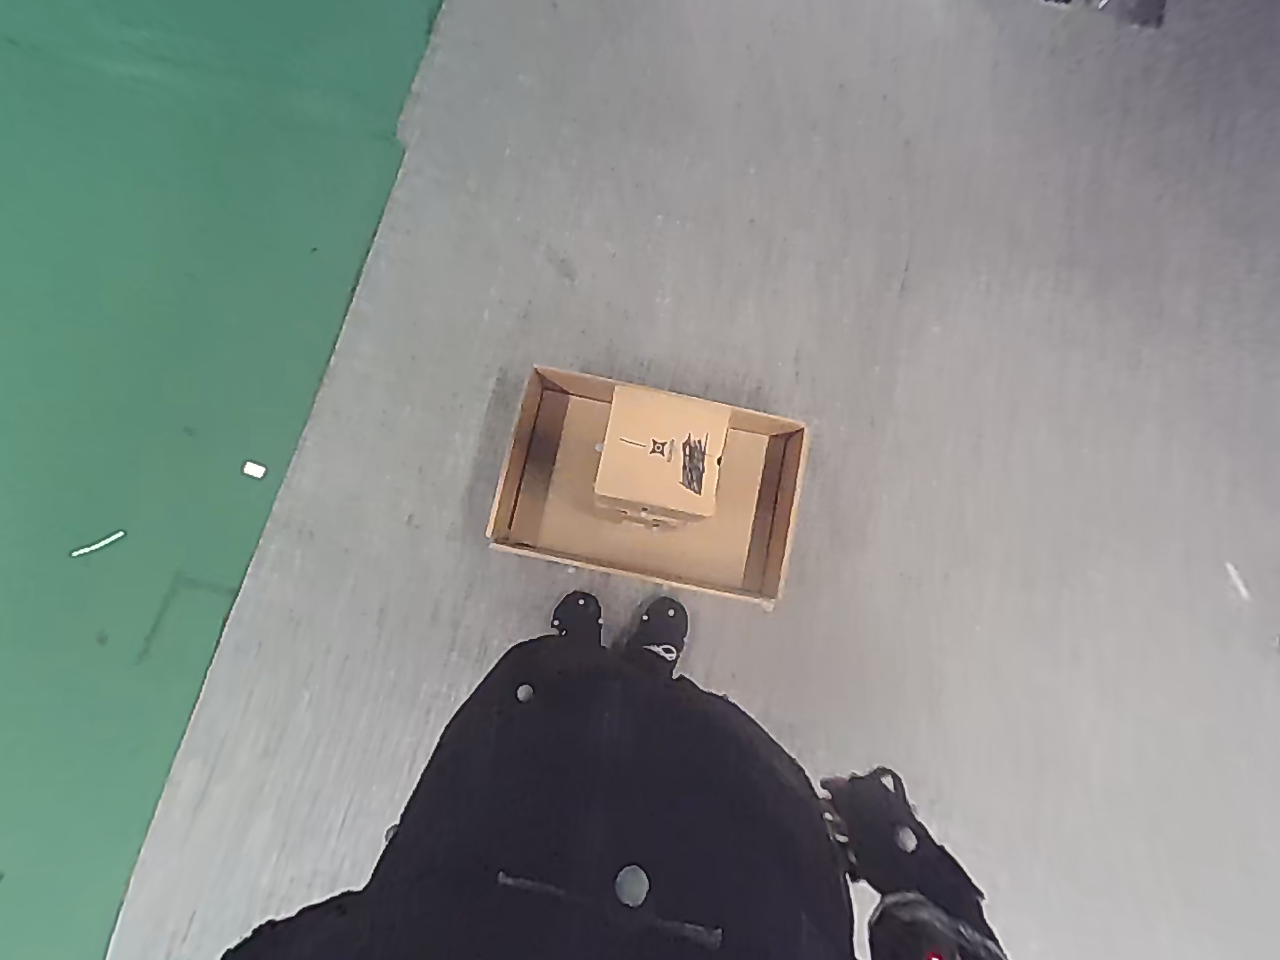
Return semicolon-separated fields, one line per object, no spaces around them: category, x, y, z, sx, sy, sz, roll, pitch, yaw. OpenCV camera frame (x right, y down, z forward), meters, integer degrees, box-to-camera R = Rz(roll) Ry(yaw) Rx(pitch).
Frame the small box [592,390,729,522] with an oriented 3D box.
small box;0.028;-0.028;0.867;0.179;0.176;0.168;11;82;-1

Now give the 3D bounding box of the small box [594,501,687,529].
small box;0.013;-0.005;1.013;0.168;0.176;0.179;10;83;-1
